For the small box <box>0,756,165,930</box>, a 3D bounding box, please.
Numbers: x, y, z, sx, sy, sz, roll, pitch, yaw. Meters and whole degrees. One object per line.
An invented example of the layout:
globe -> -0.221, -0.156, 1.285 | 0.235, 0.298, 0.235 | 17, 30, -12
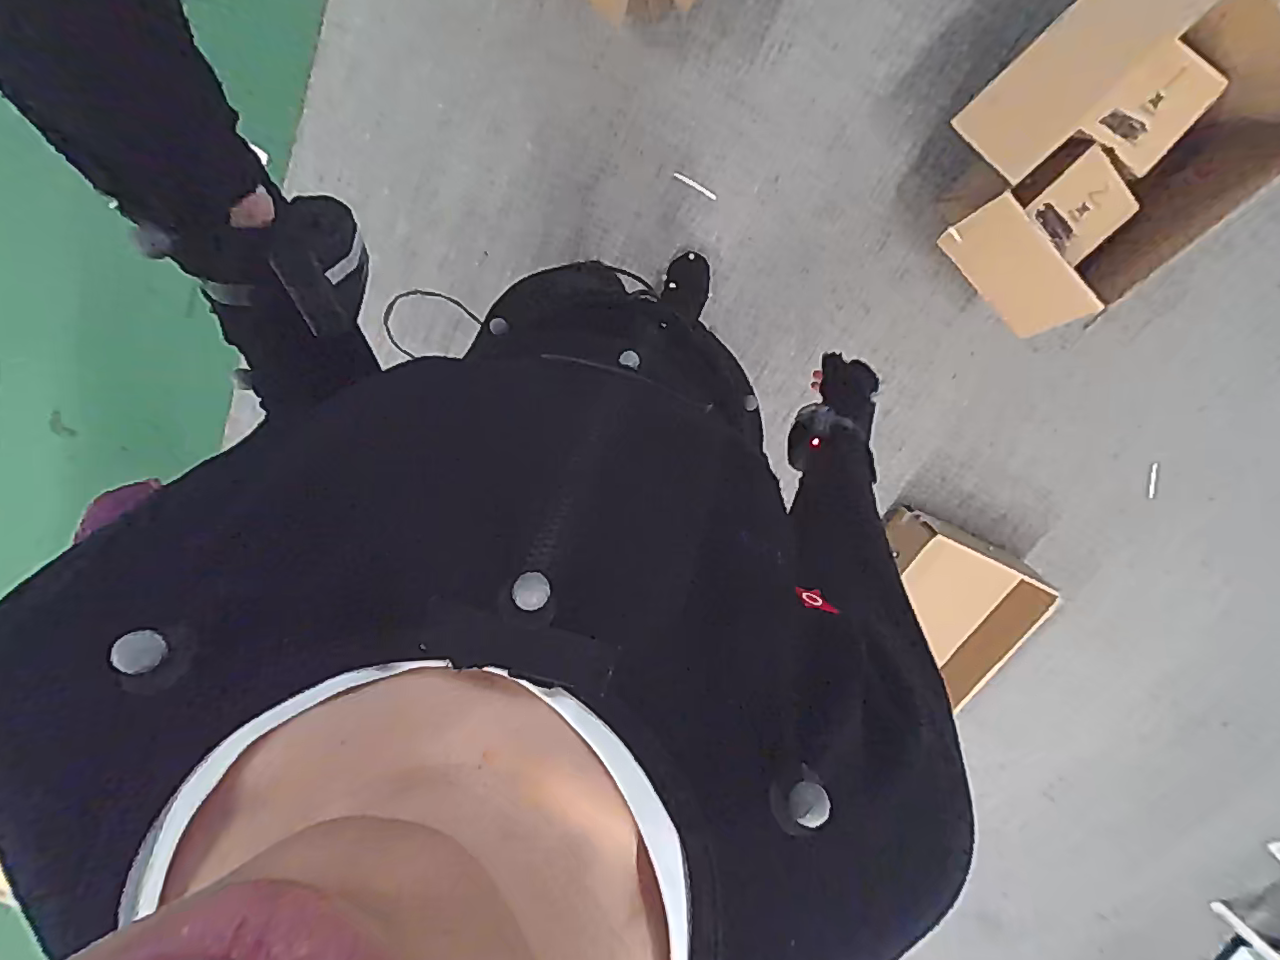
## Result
small box -> -1.012, 0.639, 0.967 | 0.168, 0.176, 0.179 | 35, 109, -9
